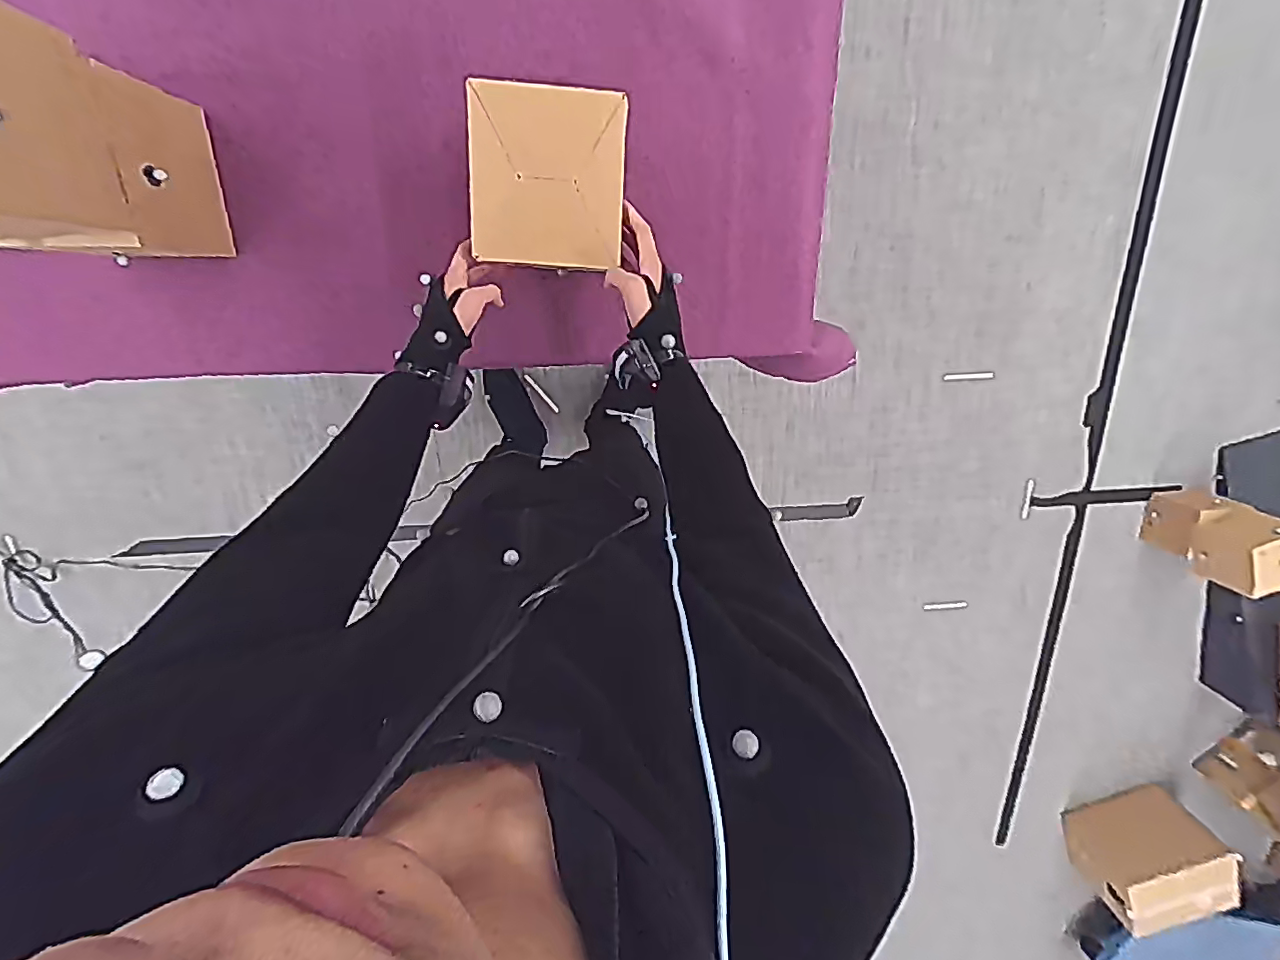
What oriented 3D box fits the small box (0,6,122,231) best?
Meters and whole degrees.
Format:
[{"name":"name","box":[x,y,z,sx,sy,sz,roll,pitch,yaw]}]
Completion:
[{"name":"small box","box":[-0.615,-0.315,0.463,0.168,0.176,0.179,-5,109,-3]}]

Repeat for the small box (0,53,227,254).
[{"name":"small box","box":[-0.623,-0.359,0.622,0.168,0.176,0.179,-1,109,-5]}]

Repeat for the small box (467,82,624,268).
[{"name":"small box","box":[-0.107,-0.358,0.659,0.168,0.176,0.179,2,109,-5]}]
